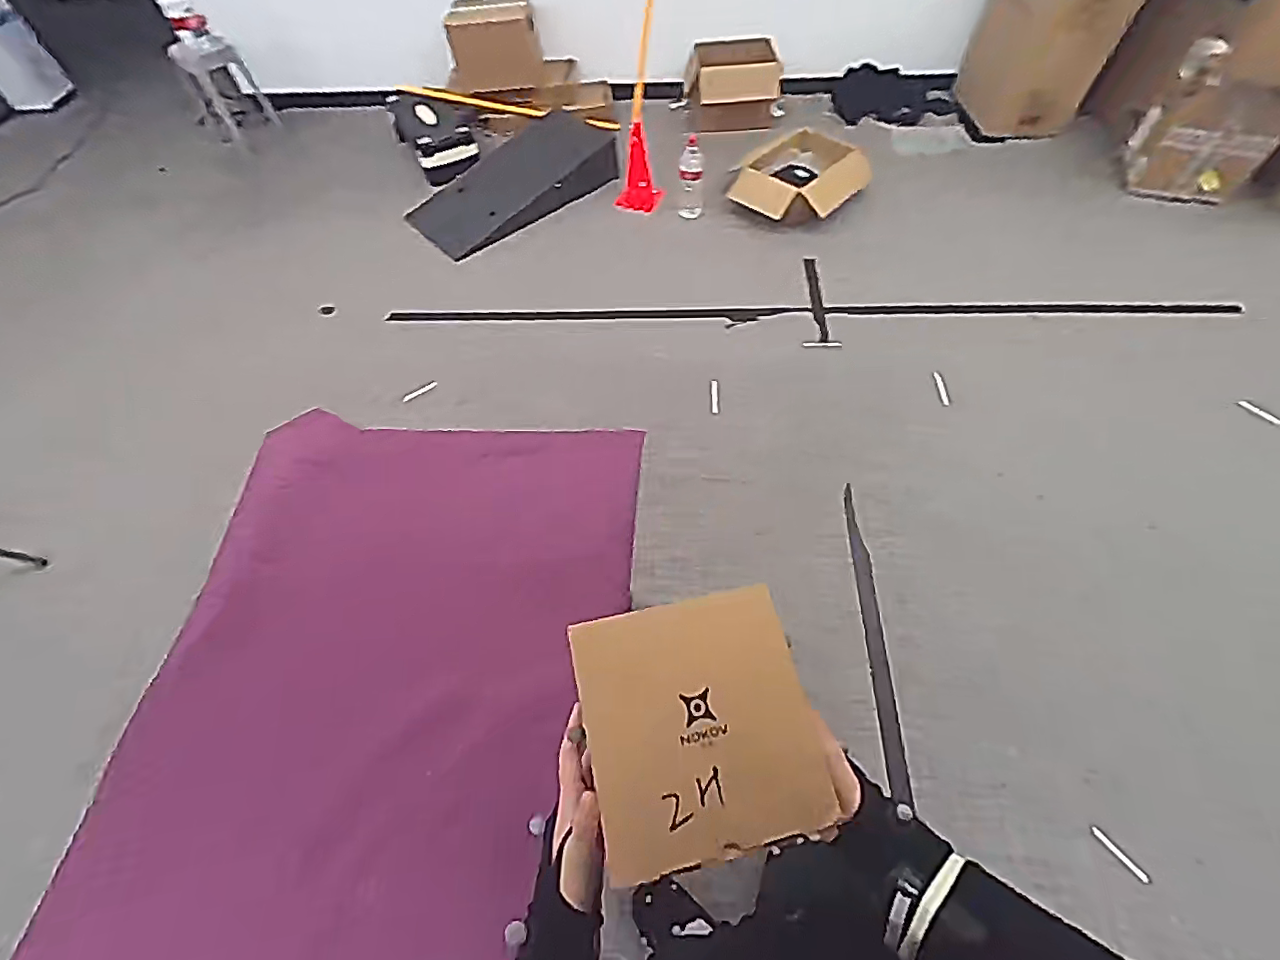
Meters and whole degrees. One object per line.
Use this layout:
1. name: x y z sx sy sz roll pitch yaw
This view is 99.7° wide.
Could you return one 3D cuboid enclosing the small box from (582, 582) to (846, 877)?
1. small box: 0.043 0.206 0.472 0.168 0.176 0.179 -10 67 -8
